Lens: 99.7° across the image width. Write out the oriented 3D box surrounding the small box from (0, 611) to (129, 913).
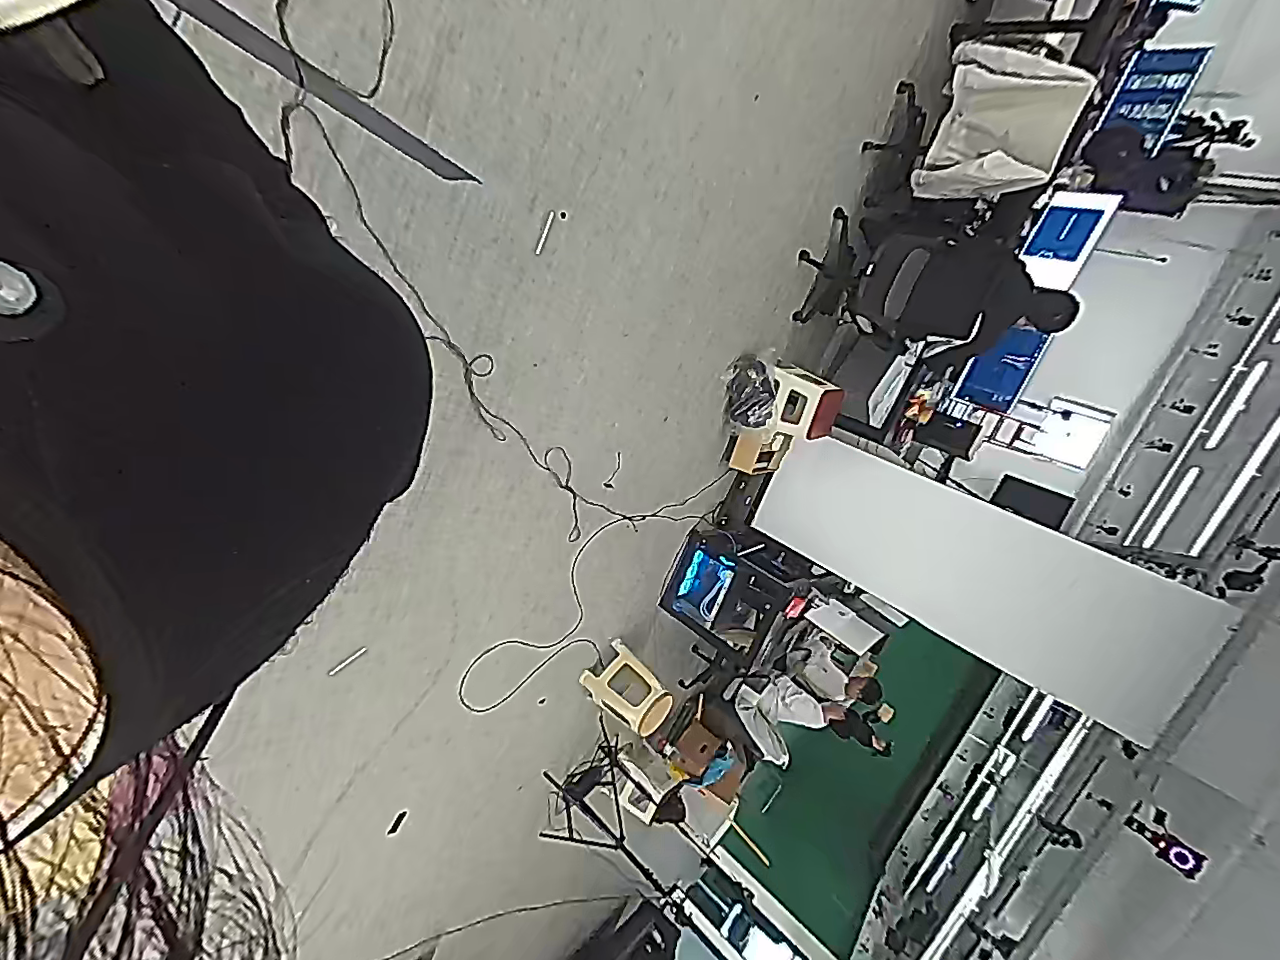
[{"bbox_3d":[-0.546,0.227,0.422,0.179,0.176,0.168,1,117,-55],"label":"small box"}]
